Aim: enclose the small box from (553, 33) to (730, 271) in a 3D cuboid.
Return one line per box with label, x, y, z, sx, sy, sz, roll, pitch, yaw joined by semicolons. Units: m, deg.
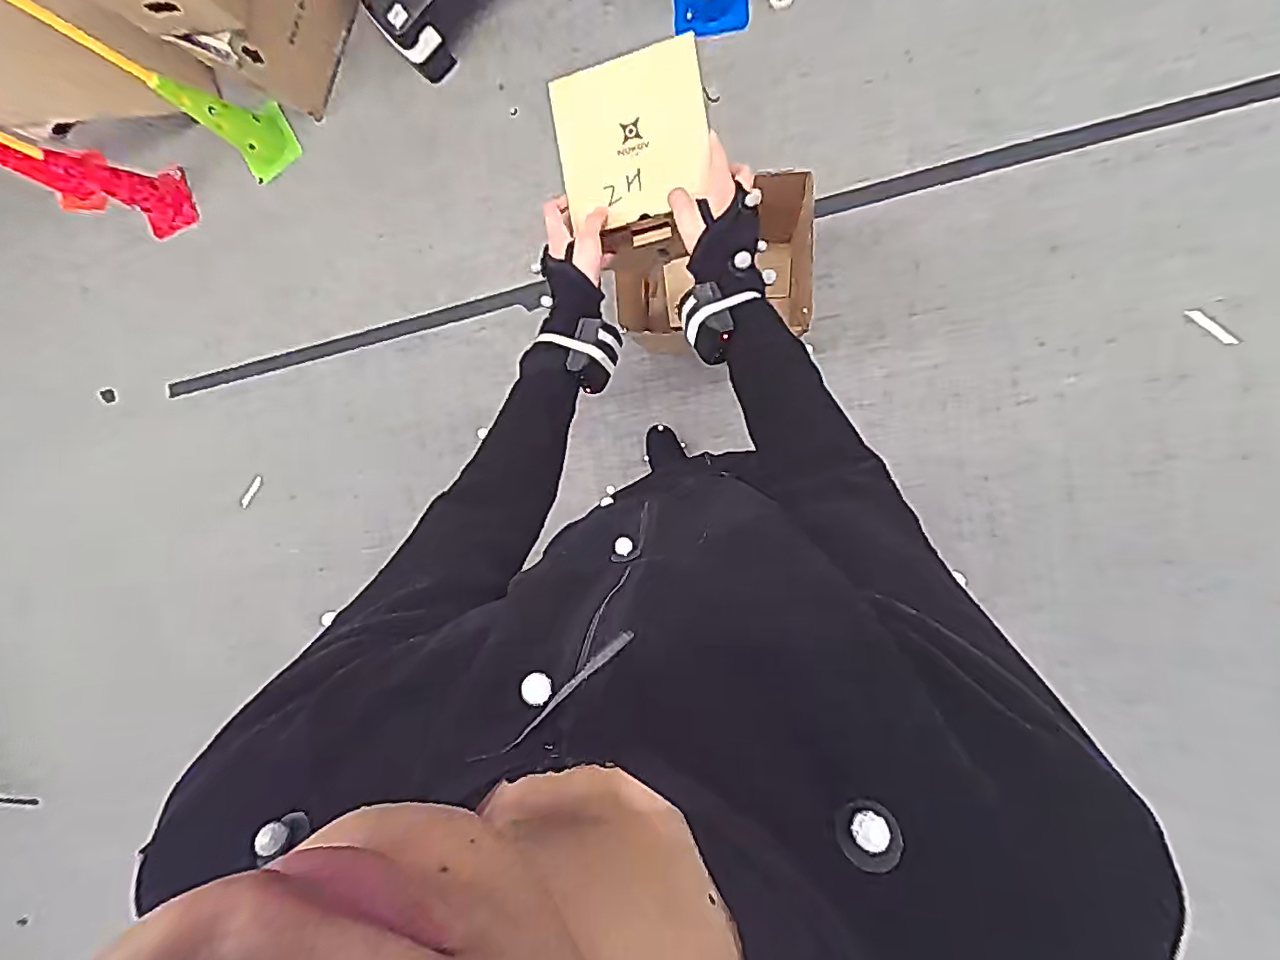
small box;0.013;-0.380;0.664;0.168;0.176;0.179;-9;96;15
